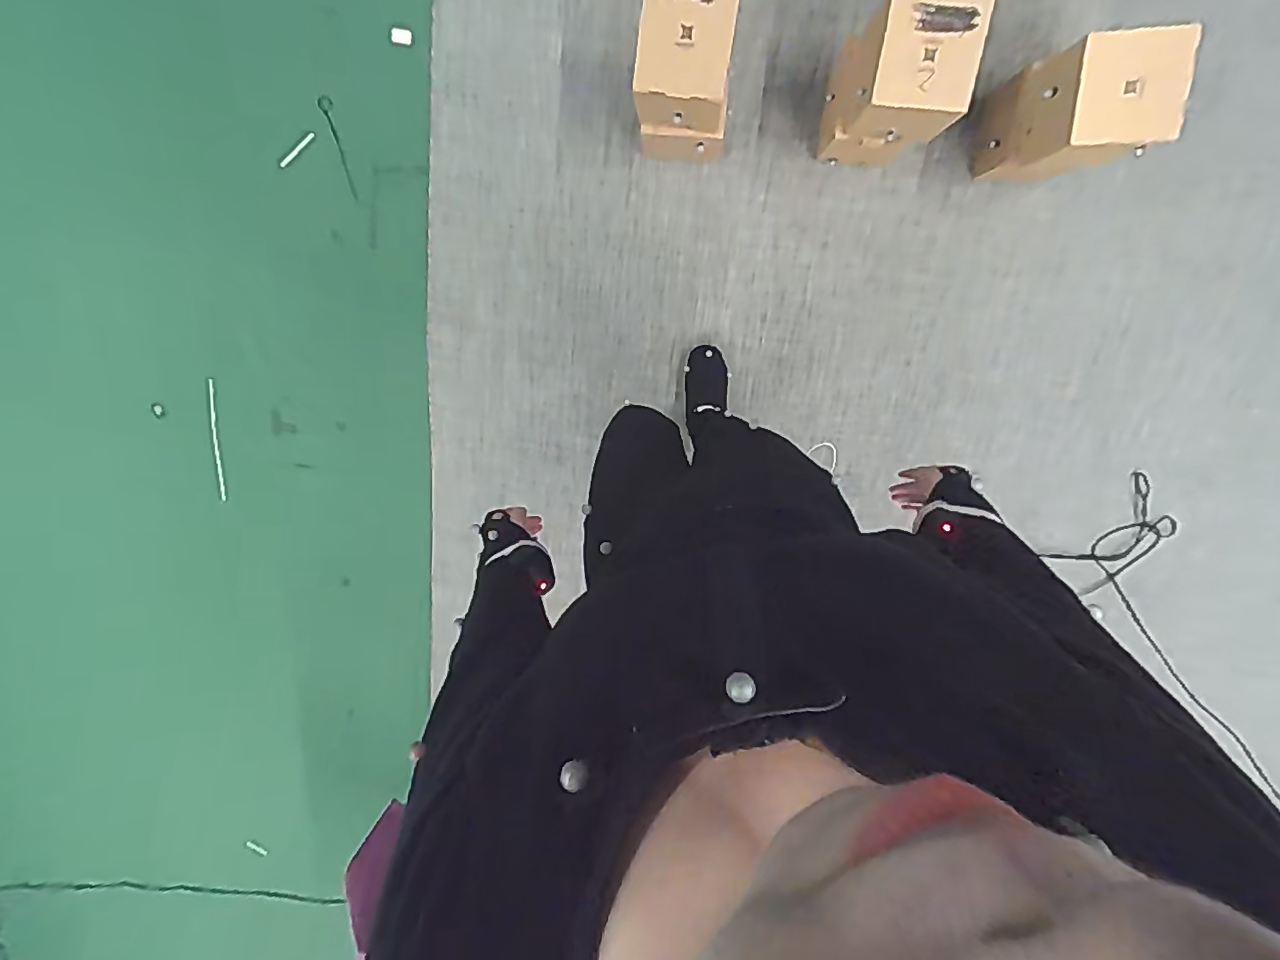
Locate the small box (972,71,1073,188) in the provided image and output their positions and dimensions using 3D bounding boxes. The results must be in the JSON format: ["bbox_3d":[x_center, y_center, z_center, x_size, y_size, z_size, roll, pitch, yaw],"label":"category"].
[{"bbox_3d":[0.836,-0.724,1.133,0.179,0.176,0.168,4,107,4],"label":"small box"}]

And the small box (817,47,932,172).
[{"bbox_3d":[0.487,-0.778,1.153,0.168,0.176,0.179,7,105,4],"label":"small box"}]

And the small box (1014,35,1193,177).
[{"bbox_3d":[0.822,-0.665,0.982,0.179,0.176,0.168,-1,106,5],"label":"small box"}]

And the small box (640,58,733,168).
[{"bbox_3d":[0.100,-0.802,1.186,0.179,0.176,0.168,6,105,4],"label":"small box"}]

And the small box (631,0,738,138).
[{"bbox_3d":[0.084,-0.776,1.024,0.168,0.176,0.179,10,107,3],"label":"small box"}]
